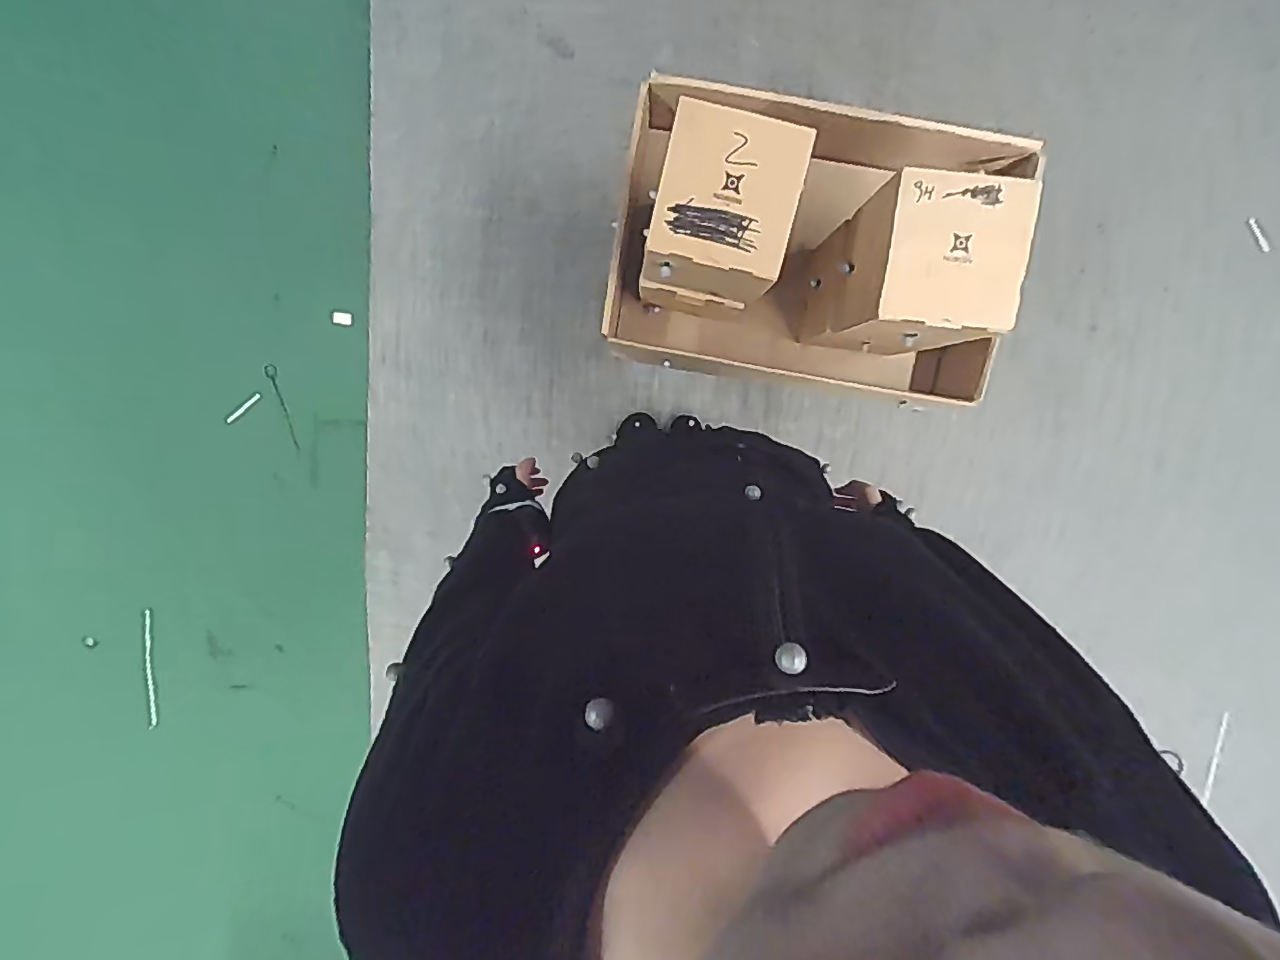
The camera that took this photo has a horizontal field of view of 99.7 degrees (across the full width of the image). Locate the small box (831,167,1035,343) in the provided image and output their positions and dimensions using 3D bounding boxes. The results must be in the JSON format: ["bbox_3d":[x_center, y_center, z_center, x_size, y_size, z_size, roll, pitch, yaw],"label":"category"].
[{"bbox_3d":[0.372,-0.284,0.724,0.168,0.176,0.179,7,100,-1],"label":"small box"}]
